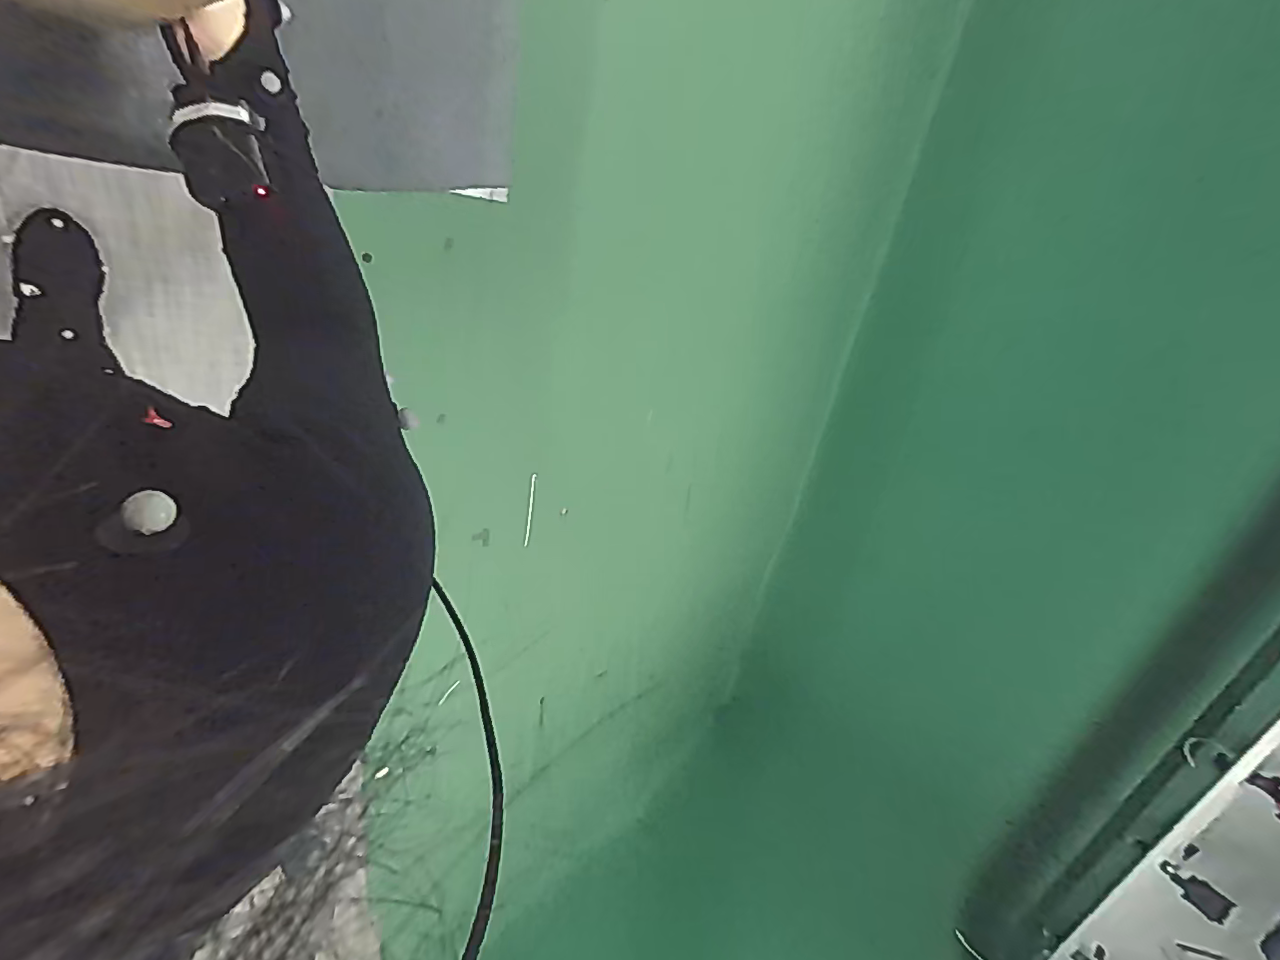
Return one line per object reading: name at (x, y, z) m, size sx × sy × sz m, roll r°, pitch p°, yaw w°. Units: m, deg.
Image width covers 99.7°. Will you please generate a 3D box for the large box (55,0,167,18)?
large box at (-0.420, -0.413, 0.161) m, size 0.408 × 0.320 × 0.320 m, roll -18°, pitch 128°, yaw -46°
